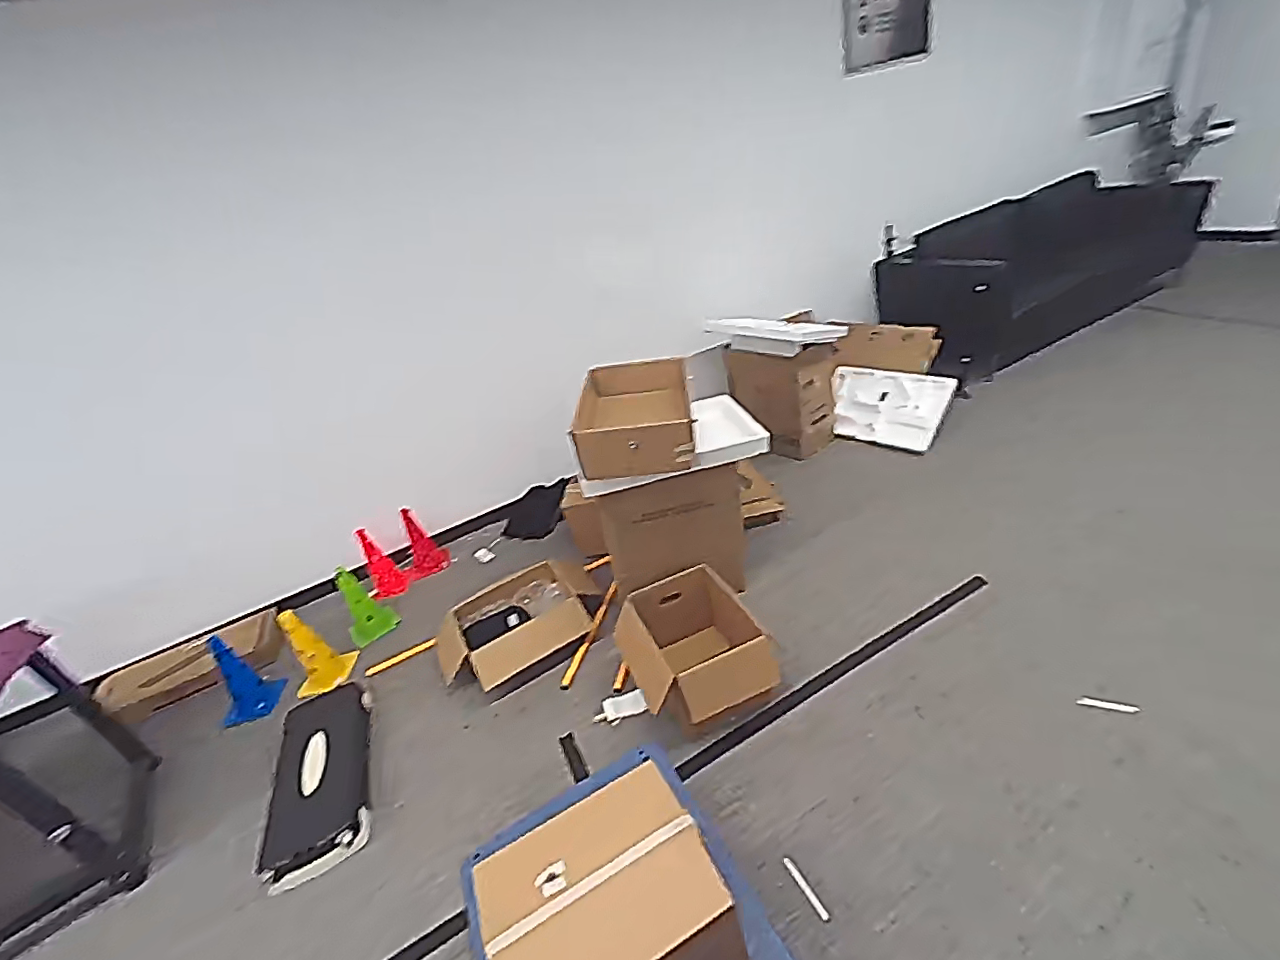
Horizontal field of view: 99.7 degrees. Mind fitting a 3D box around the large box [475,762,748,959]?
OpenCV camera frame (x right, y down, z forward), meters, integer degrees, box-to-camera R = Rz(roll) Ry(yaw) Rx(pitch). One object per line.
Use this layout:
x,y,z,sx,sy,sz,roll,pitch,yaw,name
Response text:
-0.051,0.866,1.059,0.408,0.320,0.320,-24,30,-17,large box
